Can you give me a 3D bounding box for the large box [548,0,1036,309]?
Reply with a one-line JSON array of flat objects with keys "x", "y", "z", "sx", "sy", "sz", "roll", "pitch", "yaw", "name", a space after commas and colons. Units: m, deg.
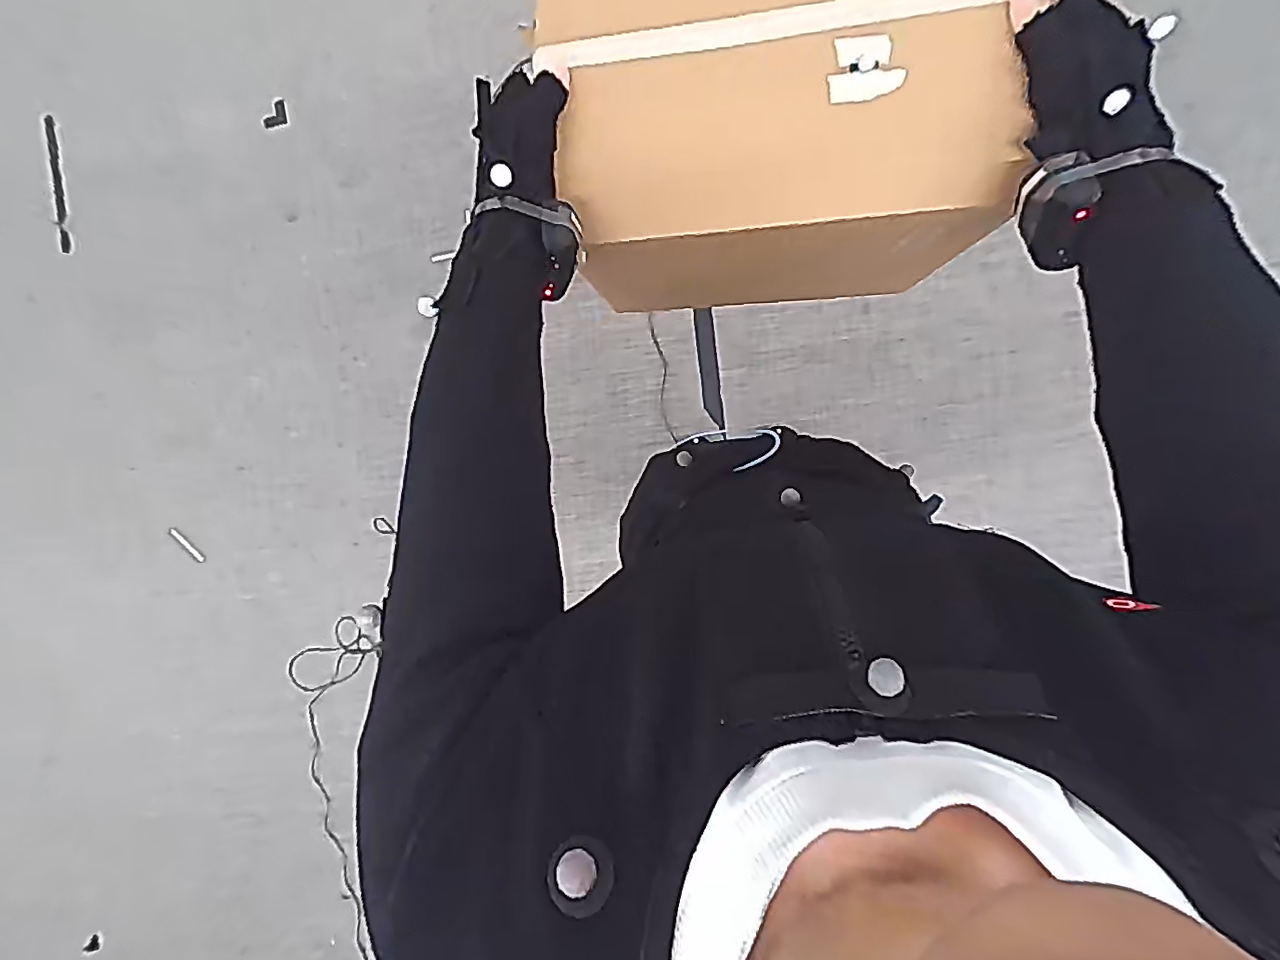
[{"x": 0.134, "y": -0.394, "z": 0.600, "sx": 0.408, "sy": 0.320, "sz": 0.320, "roll": -2, "pitch": 96, "yaw": 7, "name": "large box"}]
